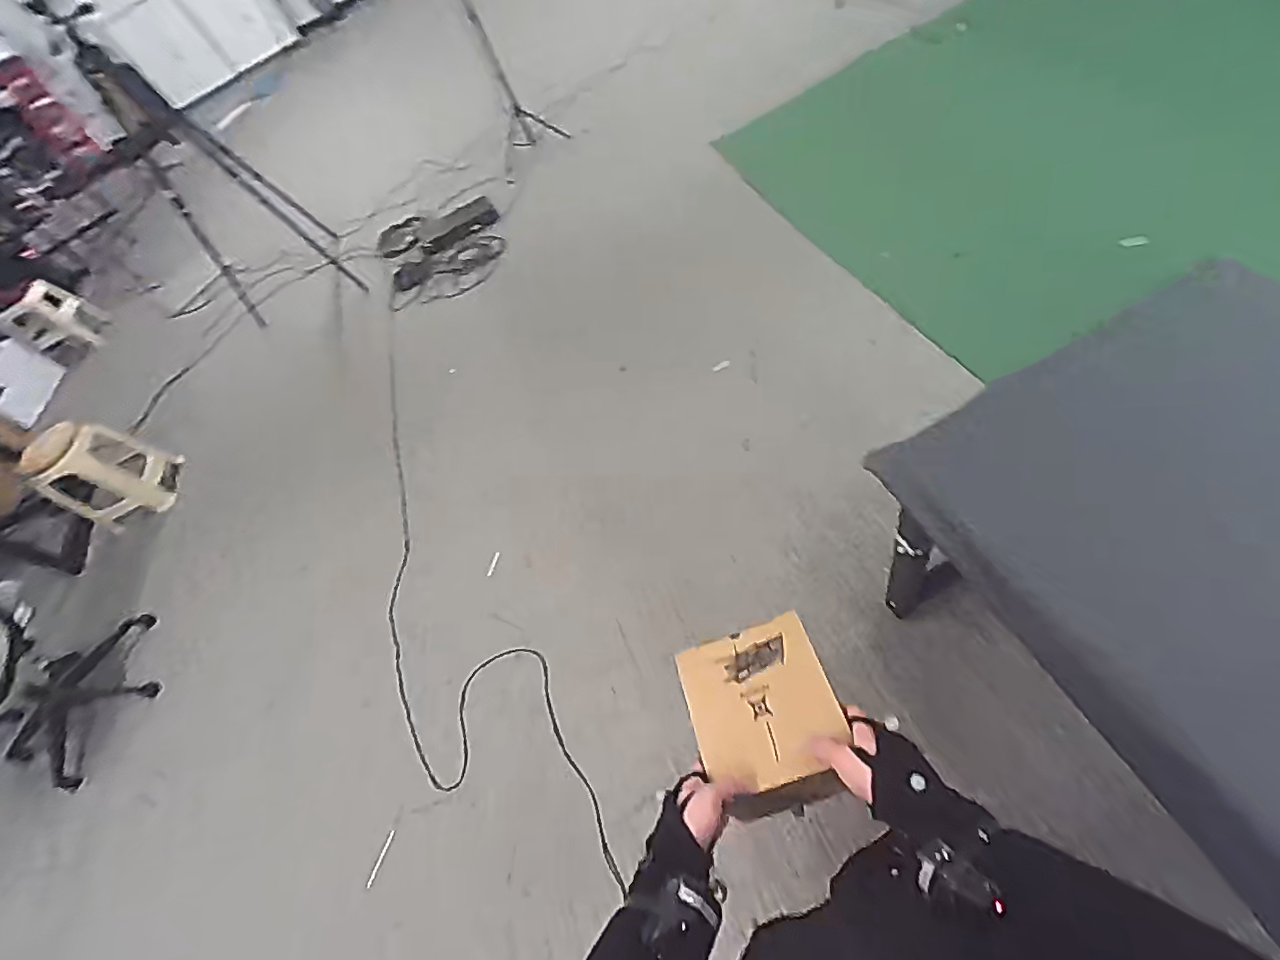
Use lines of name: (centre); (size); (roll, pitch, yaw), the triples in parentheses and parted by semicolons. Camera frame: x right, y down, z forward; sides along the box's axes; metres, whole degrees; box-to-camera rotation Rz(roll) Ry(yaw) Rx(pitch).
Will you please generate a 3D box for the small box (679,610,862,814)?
small box: (0.164, 0.299, 0.689); (0.168, 0.176, 0.179); (-21, 49, 6)
